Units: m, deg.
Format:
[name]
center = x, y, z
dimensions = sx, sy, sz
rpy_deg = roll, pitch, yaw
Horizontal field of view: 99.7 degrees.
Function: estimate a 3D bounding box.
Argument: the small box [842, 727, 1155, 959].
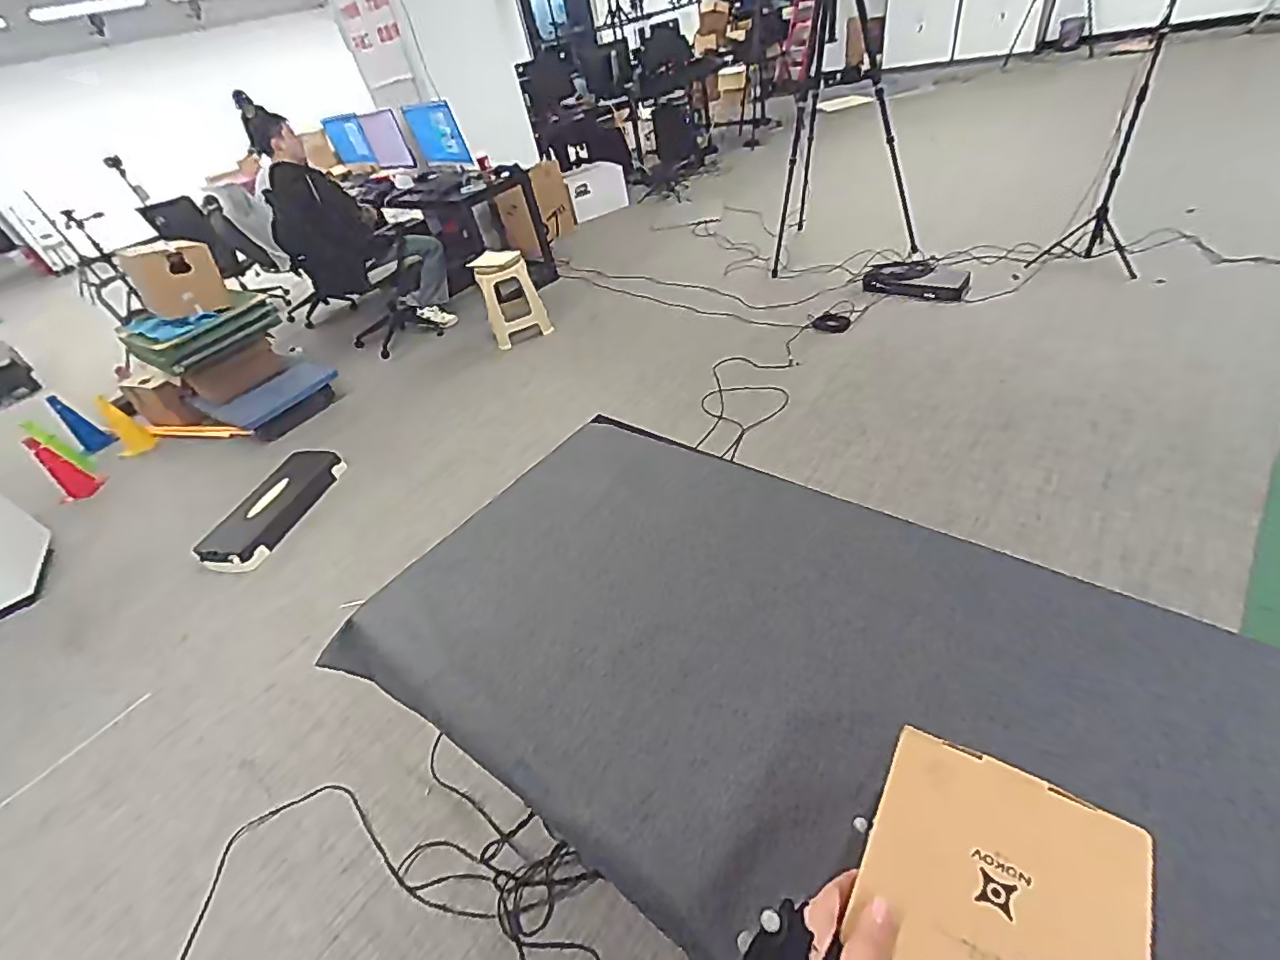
[small box]
center = 0.266, 0.343, 0.427
dimensions = 0.168, 0.176, 0.179
rpy_deg = 15, 49, 32
